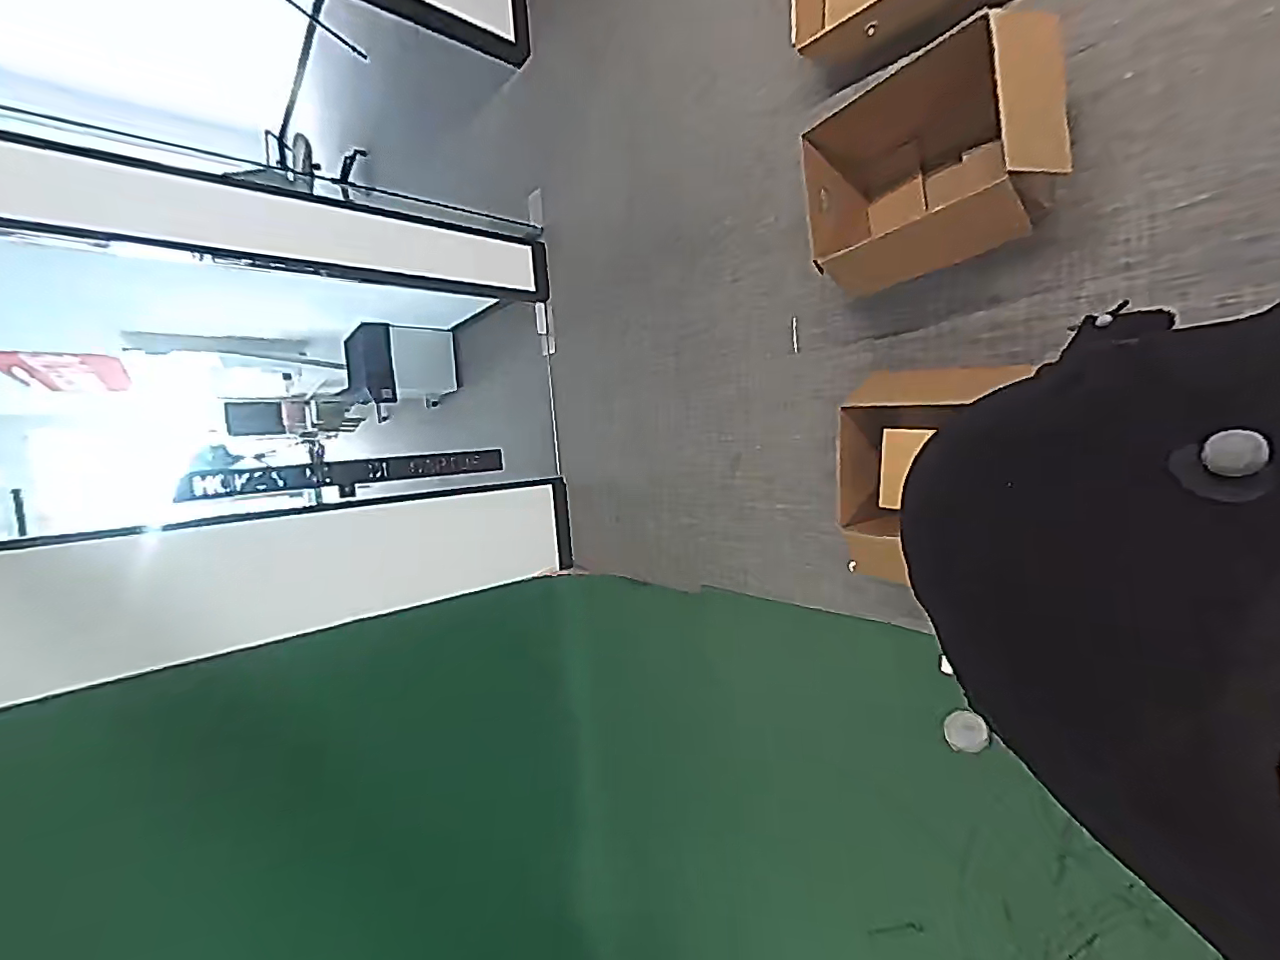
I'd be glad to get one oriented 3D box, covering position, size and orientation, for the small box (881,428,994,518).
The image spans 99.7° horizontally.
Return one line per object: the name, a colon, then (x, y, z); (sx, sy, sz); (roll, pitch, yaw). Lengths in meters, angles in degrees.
small box: (0.644, -0.023, 1.169); (0.168, 0.176, 0.179); (7, 100, 49)
